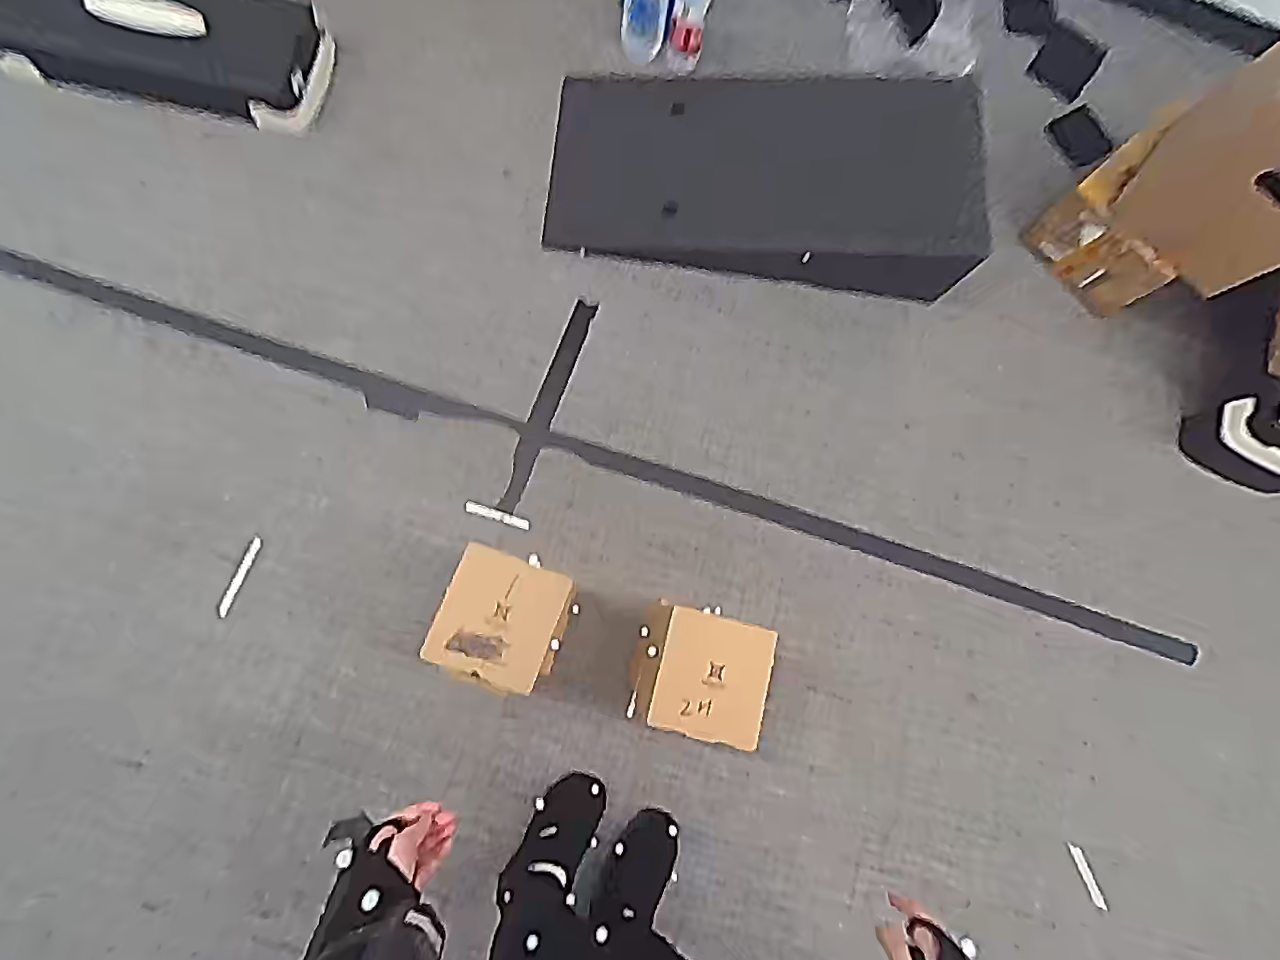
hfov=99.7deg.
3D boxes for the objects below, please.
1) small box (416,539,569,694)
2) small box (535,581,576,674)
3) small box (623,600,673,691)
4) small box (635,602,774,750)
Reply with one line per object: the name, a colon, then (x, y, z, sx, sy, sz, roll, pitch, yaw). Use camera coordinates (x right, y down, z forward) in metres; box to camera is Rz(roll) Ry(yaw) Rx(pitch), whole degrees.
small box: (-0.217, 0.209, 0.847, 0.168, 0.176, 0.179, 21, 75, -3)
small box: (-0.228, 0.244, 1.007, 0.179, 0.176, 0.168, 18, 76, -3)
small box: (0.080, 0.330, 1.028, 0.179, 0.176, 0.168, 19, 76, -4)
small box: (0.094, 0.300, 0.865, 0.168, 0.176, 0.179, 16, 77, -3)
